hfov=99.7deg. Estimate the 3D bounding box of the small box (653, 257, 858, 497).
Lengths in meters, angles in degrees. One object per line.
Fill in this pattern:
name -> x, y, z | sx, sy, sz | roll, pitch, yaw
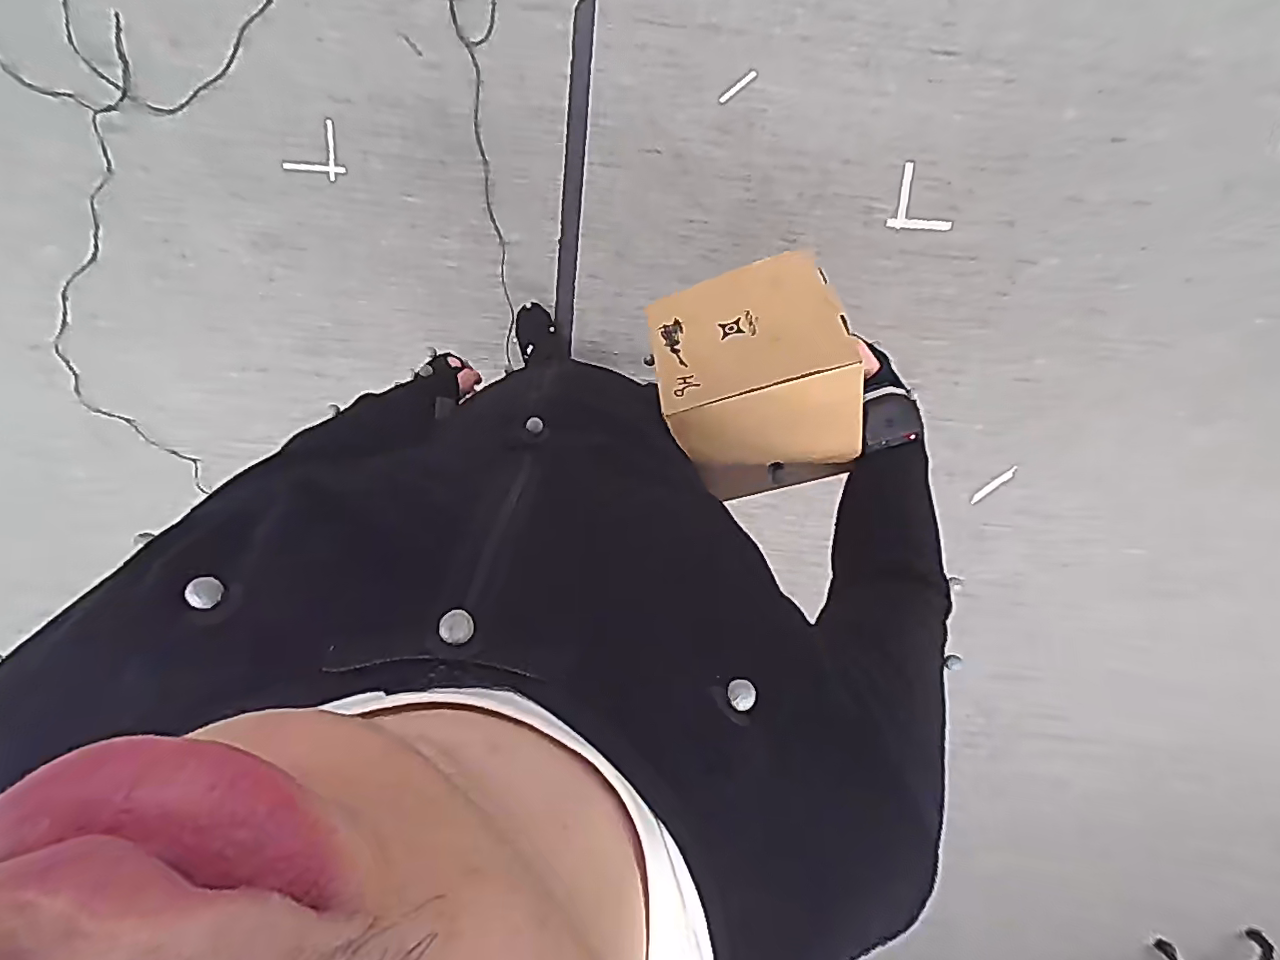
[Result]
small box -> 0.124, -0.103, 0.592 | 0.179, 0.168, 0.176 | -14, 143, 12
